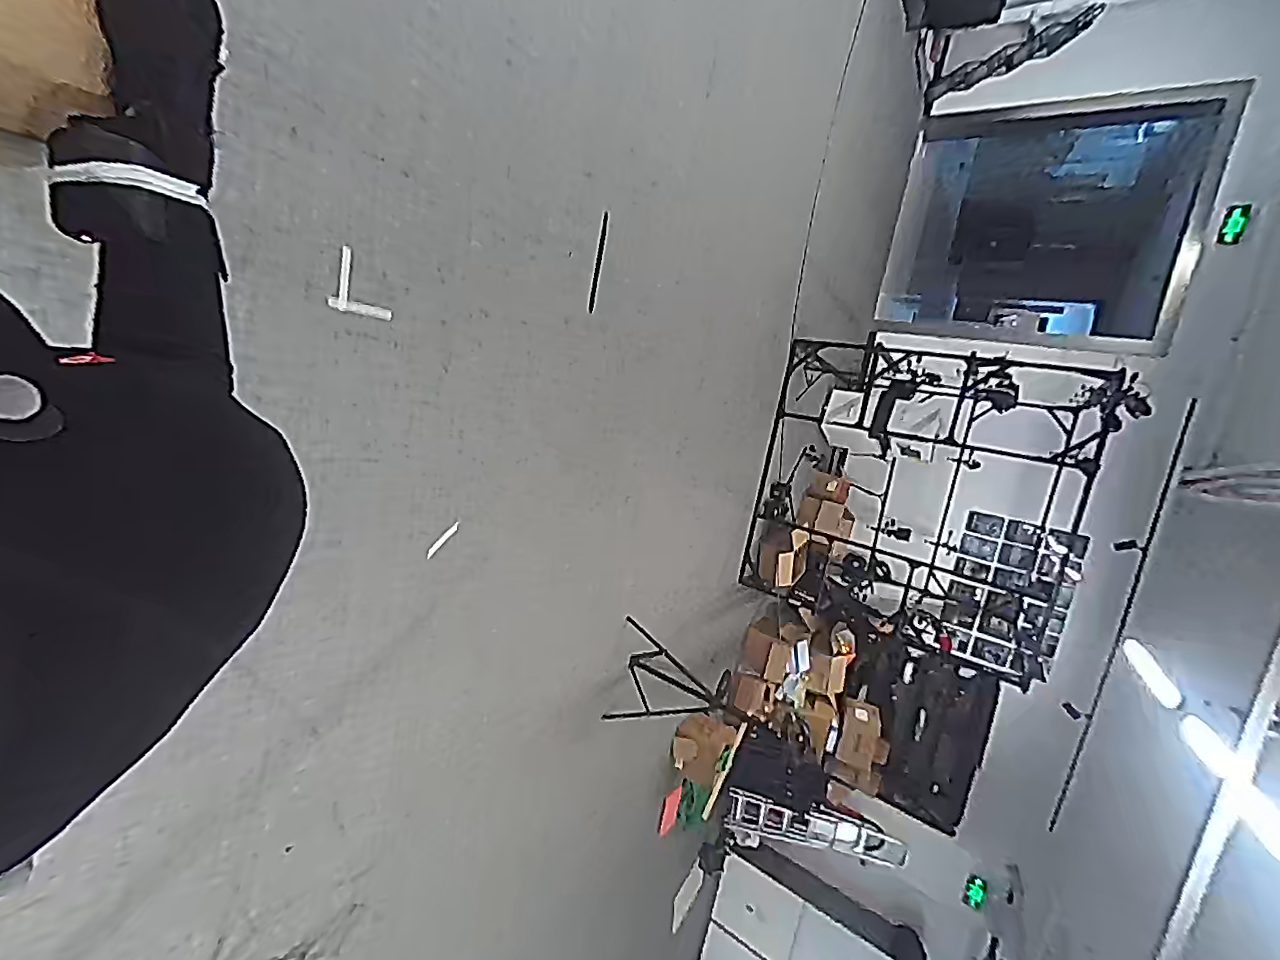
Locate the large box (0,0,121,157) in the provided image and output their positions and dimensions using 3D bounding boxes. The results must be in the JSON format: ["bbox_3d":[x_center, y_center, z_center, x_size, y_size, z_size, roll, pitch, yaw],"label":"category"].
[{"bbox_3d":[-0.579,-0.395,0.255,0.408,0.320,0.320,-13,117,-59],"label":"large box"}]
